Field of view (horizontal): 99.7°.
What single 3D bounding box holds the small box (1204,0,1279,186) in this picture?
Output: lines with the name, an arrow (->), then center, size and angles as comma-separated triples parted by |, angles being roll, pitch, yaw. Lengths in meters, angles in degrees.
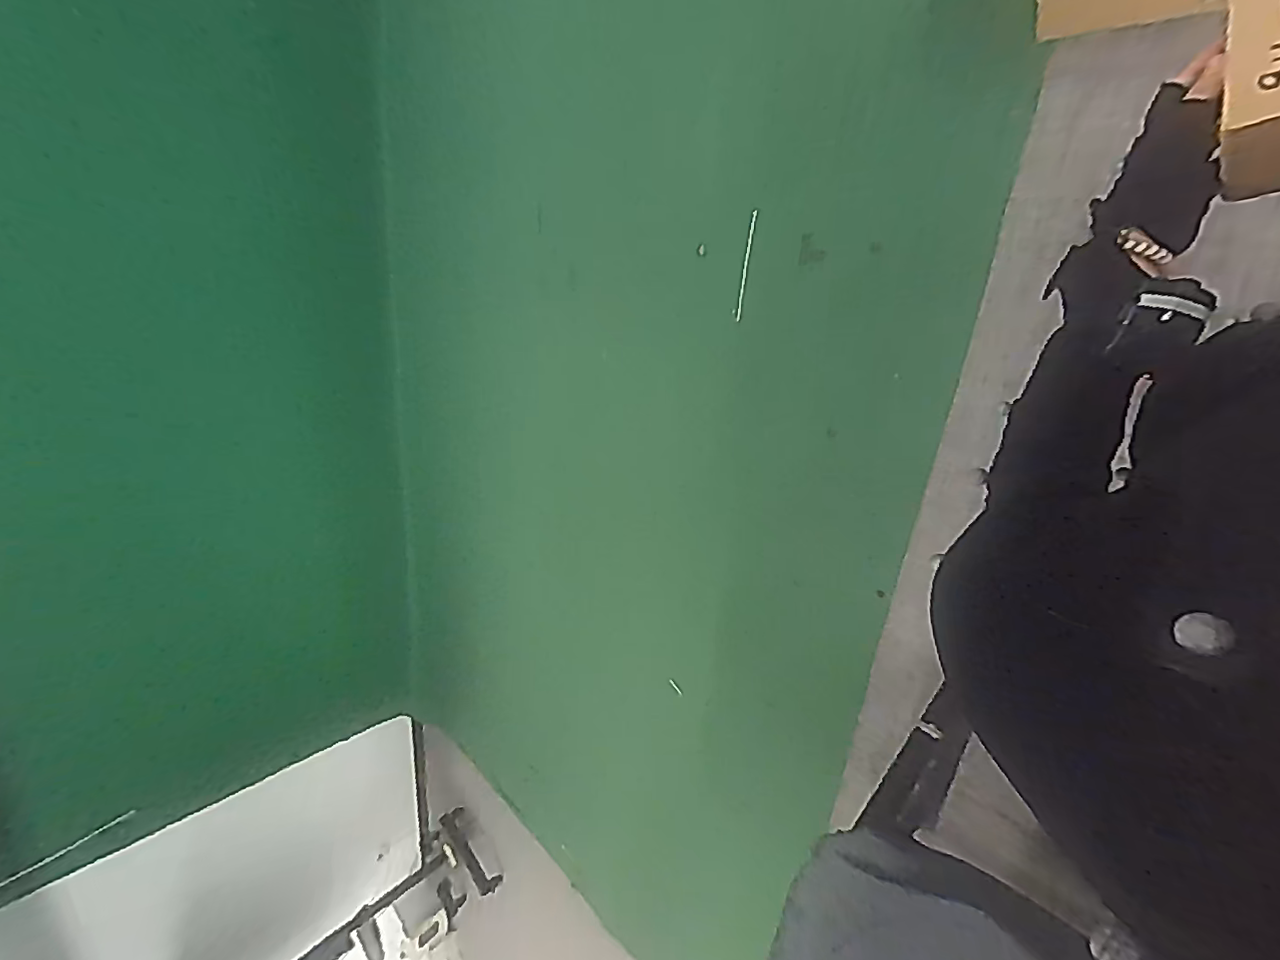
small box -> 0.471, -0.307, 0.323 | 0.179, 0.176, 0.168 | 4, 97, 46
